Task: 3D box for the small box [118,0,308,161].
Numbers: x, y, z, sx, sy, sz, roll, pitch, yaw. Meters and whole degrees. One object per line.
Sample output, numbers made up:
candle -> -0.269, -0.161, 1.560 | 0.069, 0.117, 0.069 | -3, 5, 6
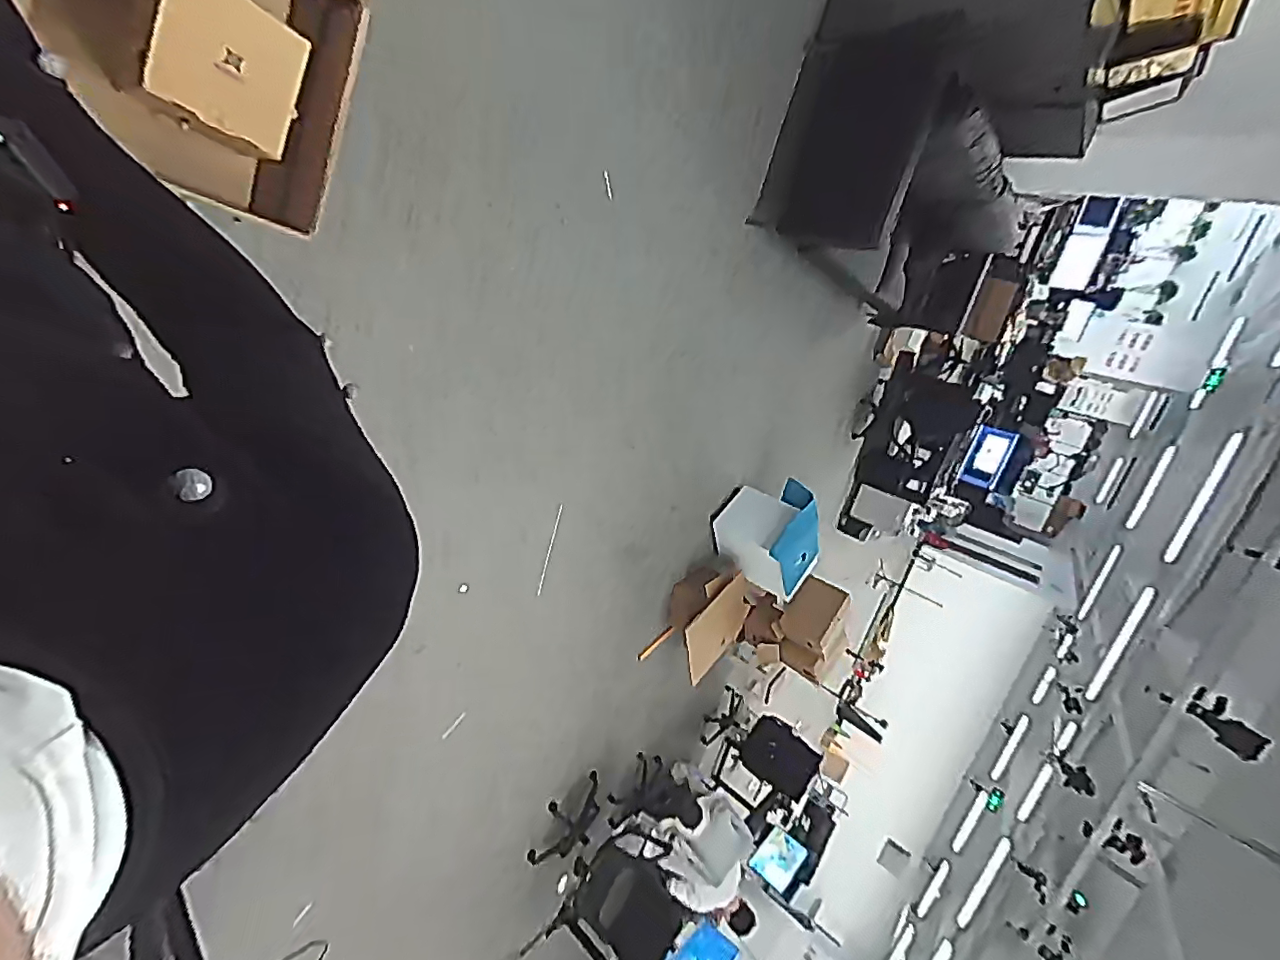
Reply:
small box -> -0.629, -0.606, 0.795 | 0.168, 0.176, 0.179 | 9, 104, -55
